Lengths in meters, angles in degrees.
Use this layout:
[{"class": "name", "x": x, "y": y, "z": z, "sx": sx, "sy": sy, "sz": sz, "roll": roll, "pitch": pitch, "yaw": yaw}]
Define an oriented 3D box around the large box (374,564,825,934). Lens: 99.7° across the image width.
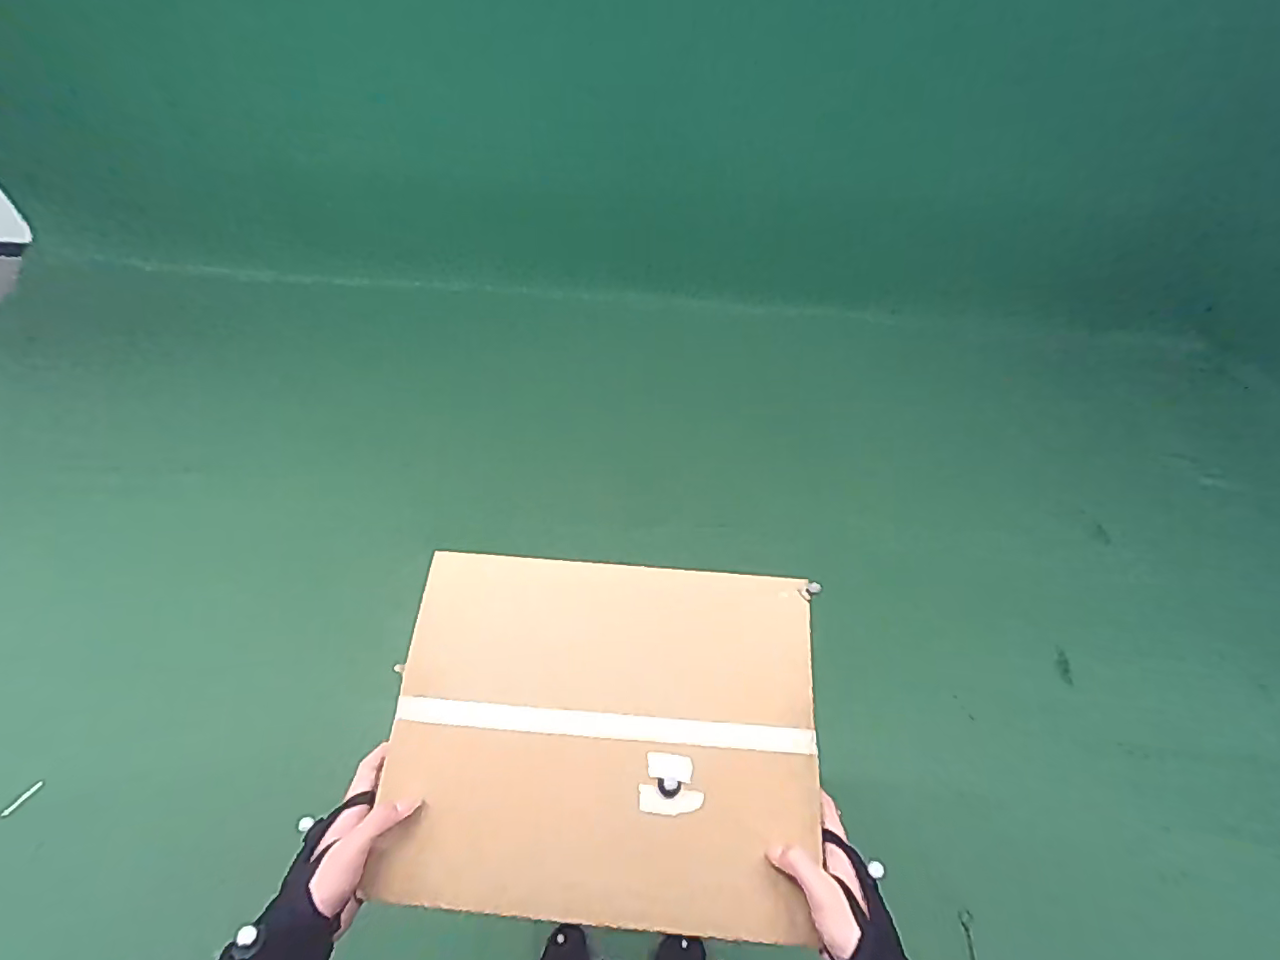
[{"class": "large box", "x": -0.031, "y": 0.302, "z": 0.664, "sx": 0.408, "sy": 0.320, "sz": 0.320, "roll": 4, "pitch": 67, "yaw": 1}]
